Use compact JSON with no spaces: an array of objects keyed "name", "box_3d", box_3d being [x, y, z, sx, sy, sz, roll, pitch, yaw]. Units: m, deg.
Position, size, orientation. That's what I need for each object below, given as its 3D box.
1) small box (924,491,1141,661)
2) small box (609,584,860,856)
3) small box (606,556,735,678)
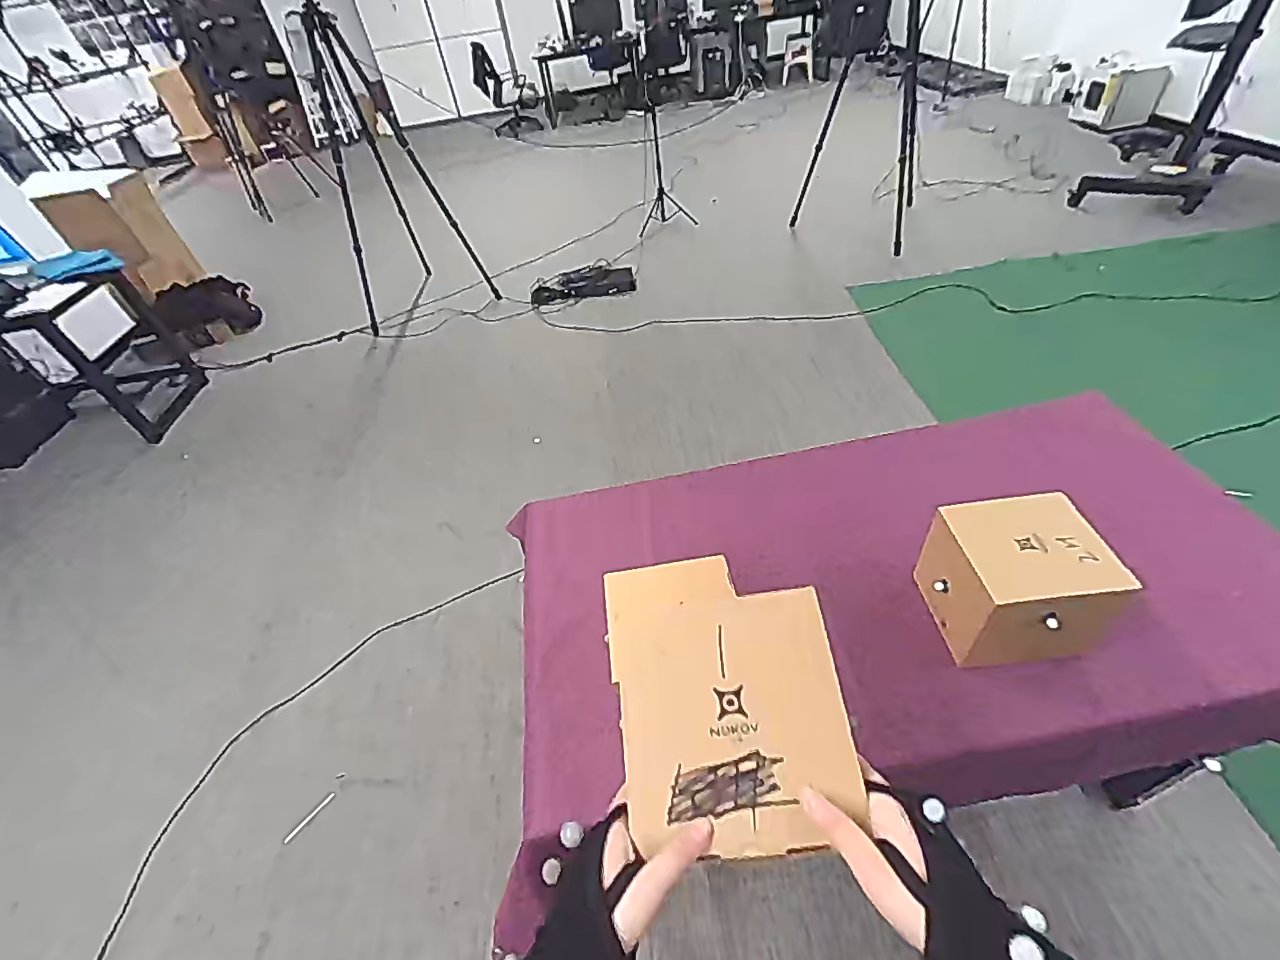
[{"name":"small box","box_3d":[0.524,0.139,0.762,0.179,0.176,0.168,-8,44,4]},{"name":"small box","box_3d":[0.076,0.208,0.475,0.168,0.176,0.179,-10,61,6]},{"name":"small box","box_3d":[0.056,0.236,0.767,0.179,0.176,0.168,-10,44,1]}]
